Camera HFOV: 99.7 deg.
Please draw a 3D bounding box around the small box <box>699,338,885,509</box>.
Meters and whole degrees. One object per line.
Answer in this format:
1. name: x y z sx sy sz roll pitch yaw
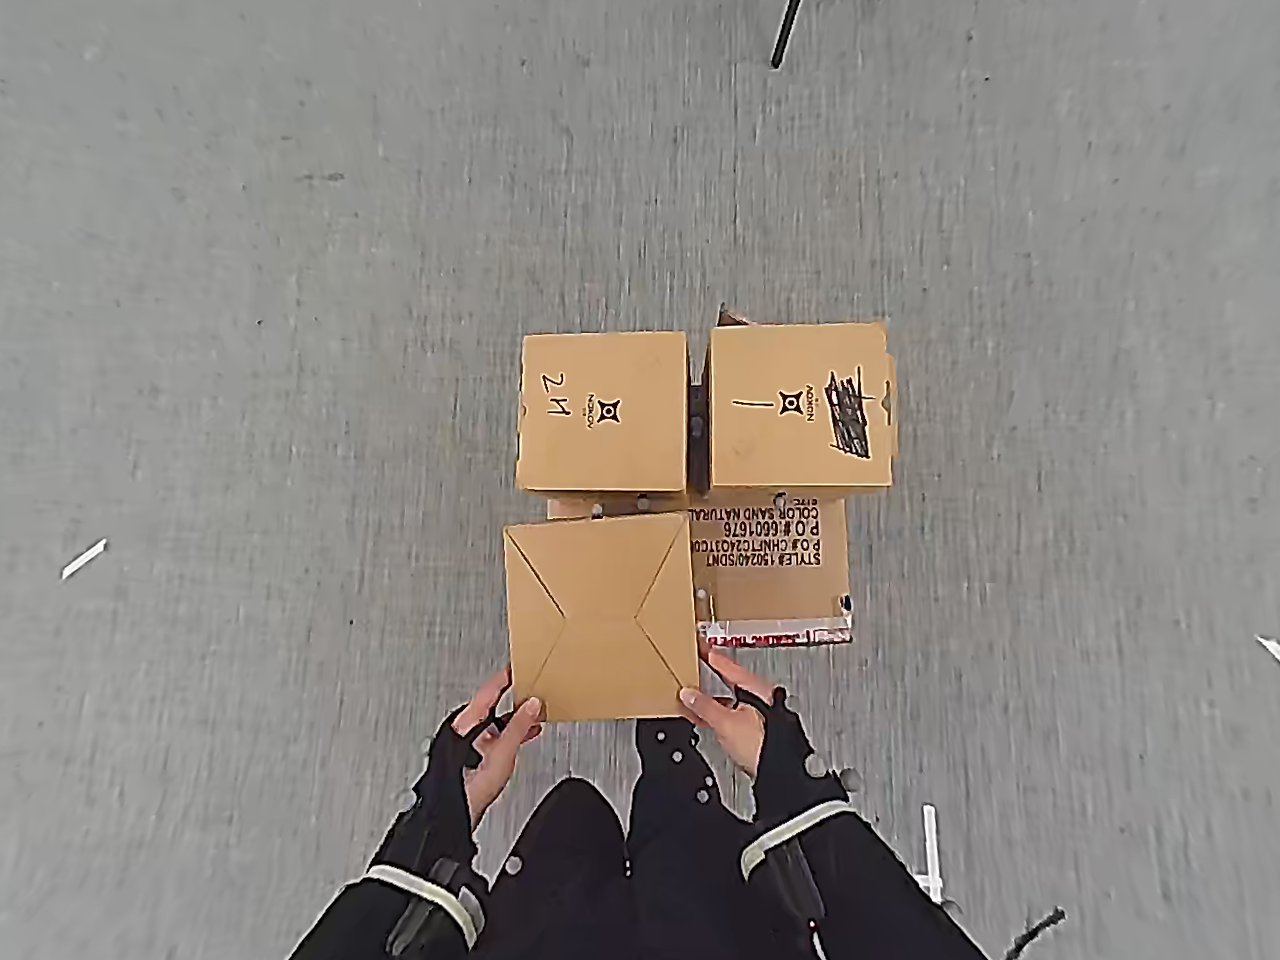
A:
1. small box: 0.161 -0.055 0.623 0.179 0.176 0.168 0 83 4
